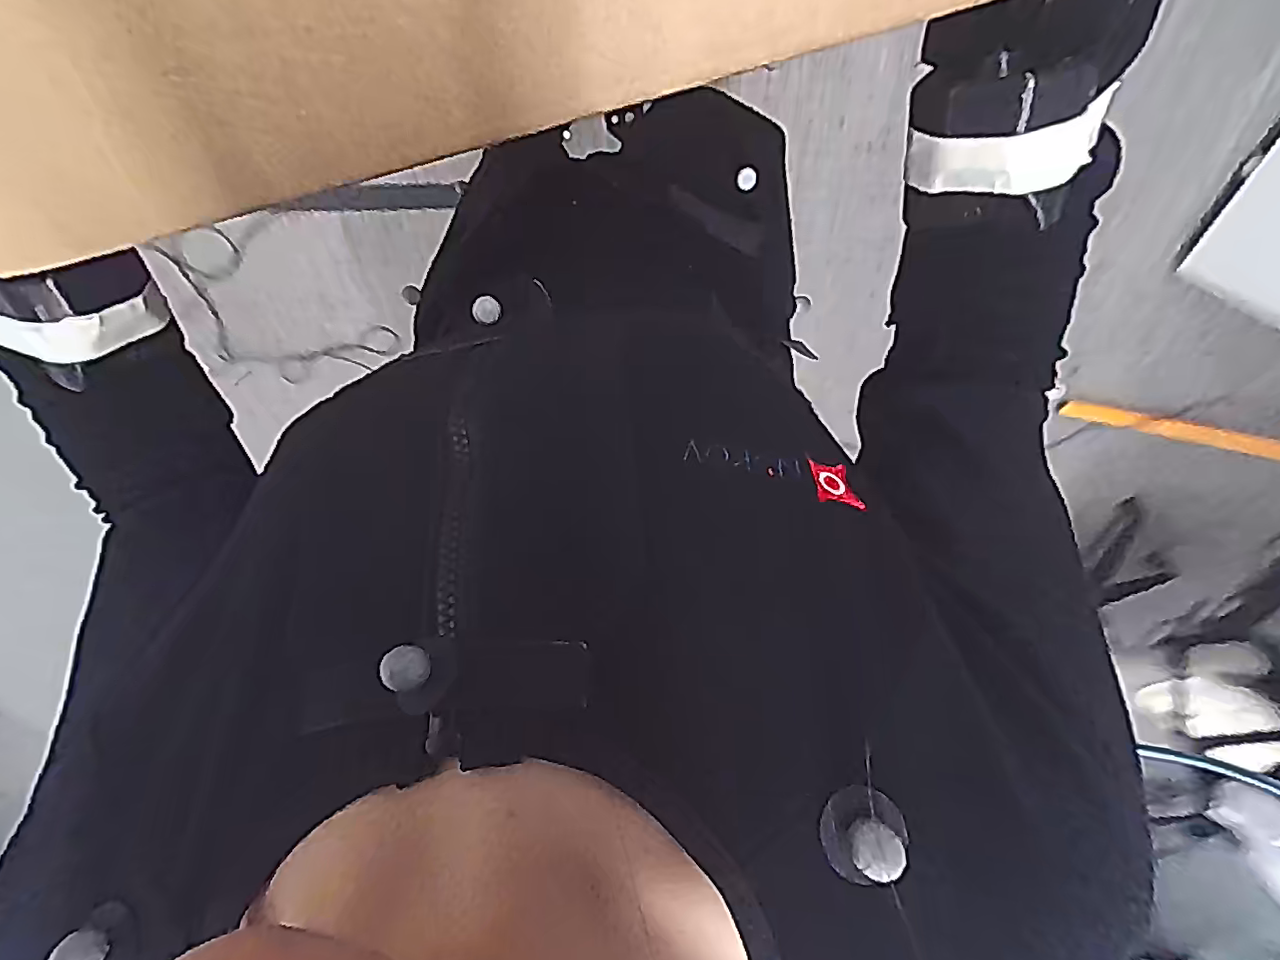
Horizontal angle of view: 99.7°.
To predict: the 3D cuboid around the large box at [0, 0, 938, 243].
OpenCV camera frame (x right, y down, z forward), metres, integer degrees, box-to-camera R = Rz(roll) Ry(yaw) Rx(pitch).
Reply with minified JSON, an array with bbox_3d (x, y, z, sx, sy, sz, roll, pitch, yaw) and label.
[{"bbox_3d":[-0.109,-0.343,0.186,0.408,0.320,0.320,-9,139,7],"label":"large box"}]
